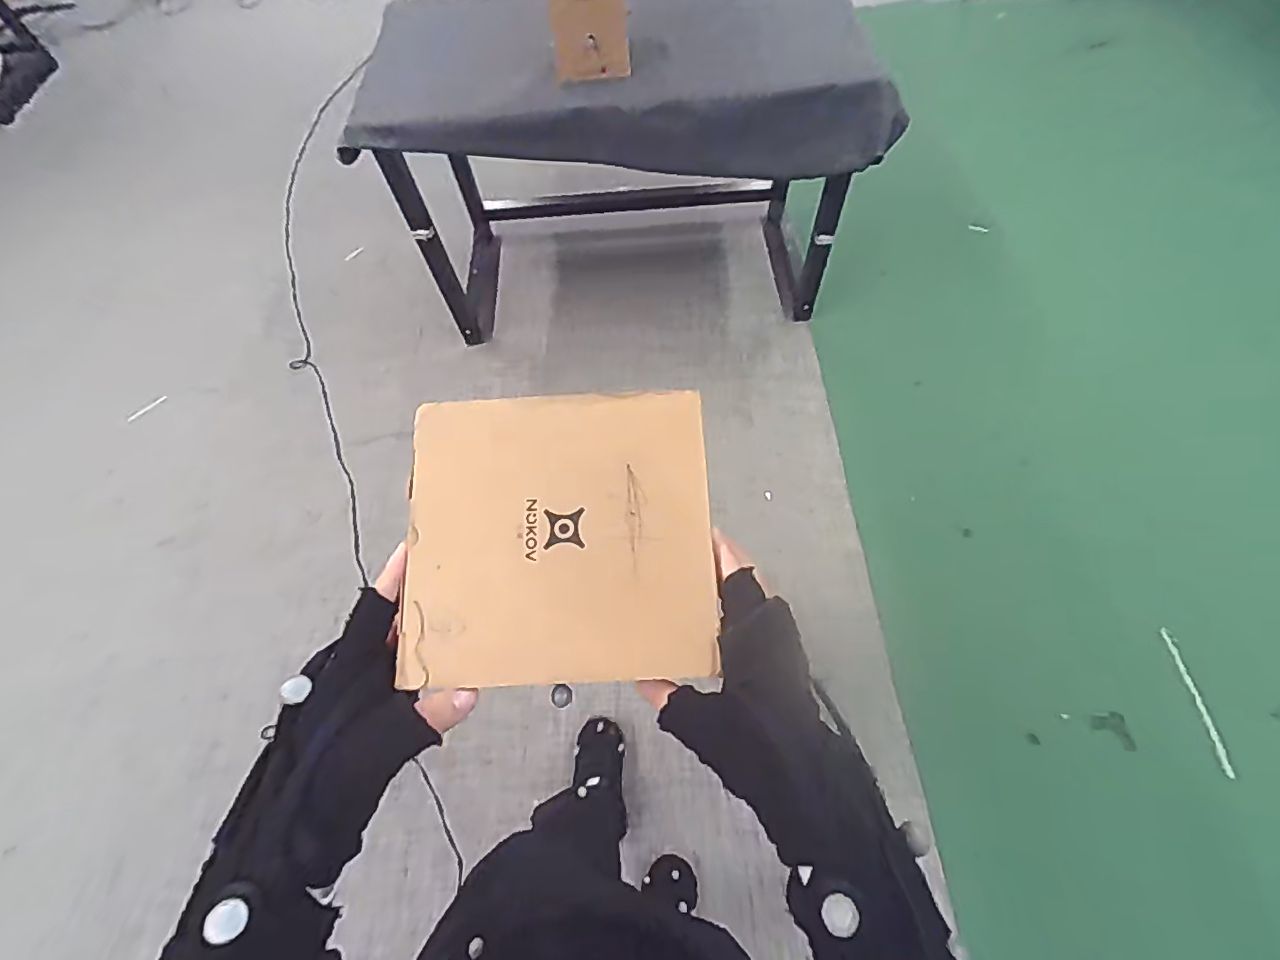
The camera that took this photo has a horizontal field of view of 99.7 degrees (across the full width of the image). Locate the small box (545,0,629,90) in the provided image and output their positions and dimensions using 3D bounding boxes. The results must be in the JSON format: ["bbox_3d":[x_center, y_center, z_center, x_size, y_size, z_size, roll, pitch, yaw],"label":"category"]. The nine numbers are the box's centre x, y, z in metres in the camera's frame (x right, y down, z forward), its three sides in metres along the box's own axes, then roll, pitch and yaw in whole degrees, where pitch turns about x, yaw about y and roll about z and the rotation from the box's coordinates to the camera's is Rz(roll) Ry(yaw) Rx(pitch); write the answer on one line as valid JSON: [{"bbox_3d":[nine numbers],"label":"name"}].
[{"bbox_3d":[-0.114,-1.016,1.228,0.168,0.176,0.179,-4,61,2],"label":"small box"}]

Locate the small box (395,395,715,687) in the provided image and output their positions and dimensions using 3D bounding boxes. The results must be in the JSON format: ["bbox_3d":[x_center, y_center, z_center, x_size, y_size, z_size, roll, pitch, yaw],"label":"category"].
[{"bbox_3d":[-0.049,0.053,0.388,0.179,0.176,0.168,-4,74,-1],"label":"small box"}]

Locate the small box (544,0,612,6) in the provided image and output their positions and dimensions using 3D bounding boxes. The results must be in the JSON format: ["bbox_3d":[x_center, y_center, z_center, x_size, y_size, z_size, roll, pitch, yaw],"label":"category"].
[{"bbox_3d":[-0.117,-1.090,1.080,0.179,0.176,0.168,-5,60,-1],"label":"small box"}]
